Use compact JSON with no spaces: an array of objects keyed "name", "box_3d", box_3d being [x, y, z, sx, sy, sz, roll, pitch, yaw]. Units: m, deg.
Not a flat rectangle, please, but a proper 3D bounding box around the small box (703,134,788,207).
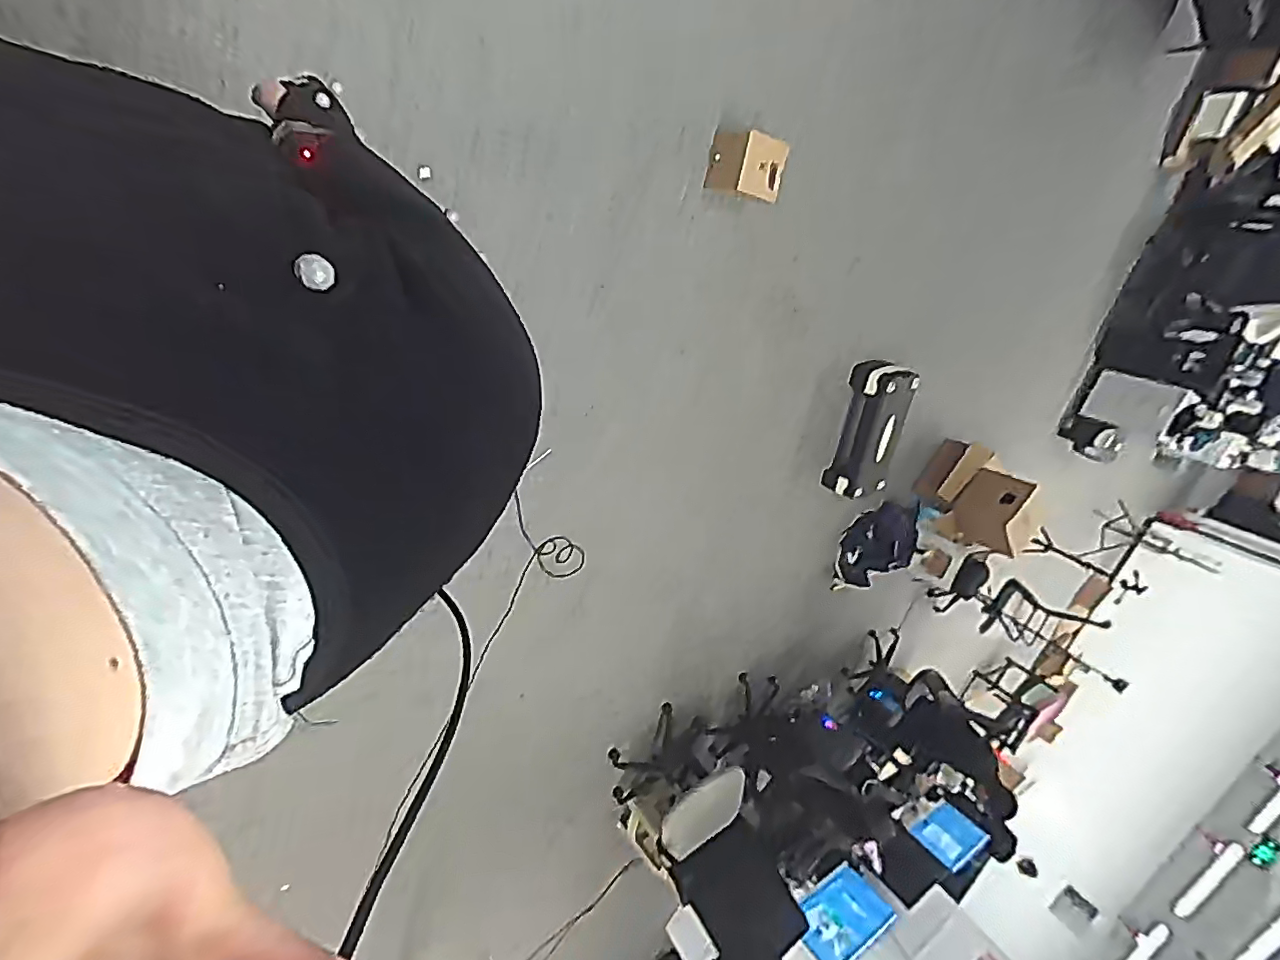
[{"name":"small box","box_3d":[0.333,-0.983,1.720,0.179,0.176,0.168,-4,116,-35]}]
